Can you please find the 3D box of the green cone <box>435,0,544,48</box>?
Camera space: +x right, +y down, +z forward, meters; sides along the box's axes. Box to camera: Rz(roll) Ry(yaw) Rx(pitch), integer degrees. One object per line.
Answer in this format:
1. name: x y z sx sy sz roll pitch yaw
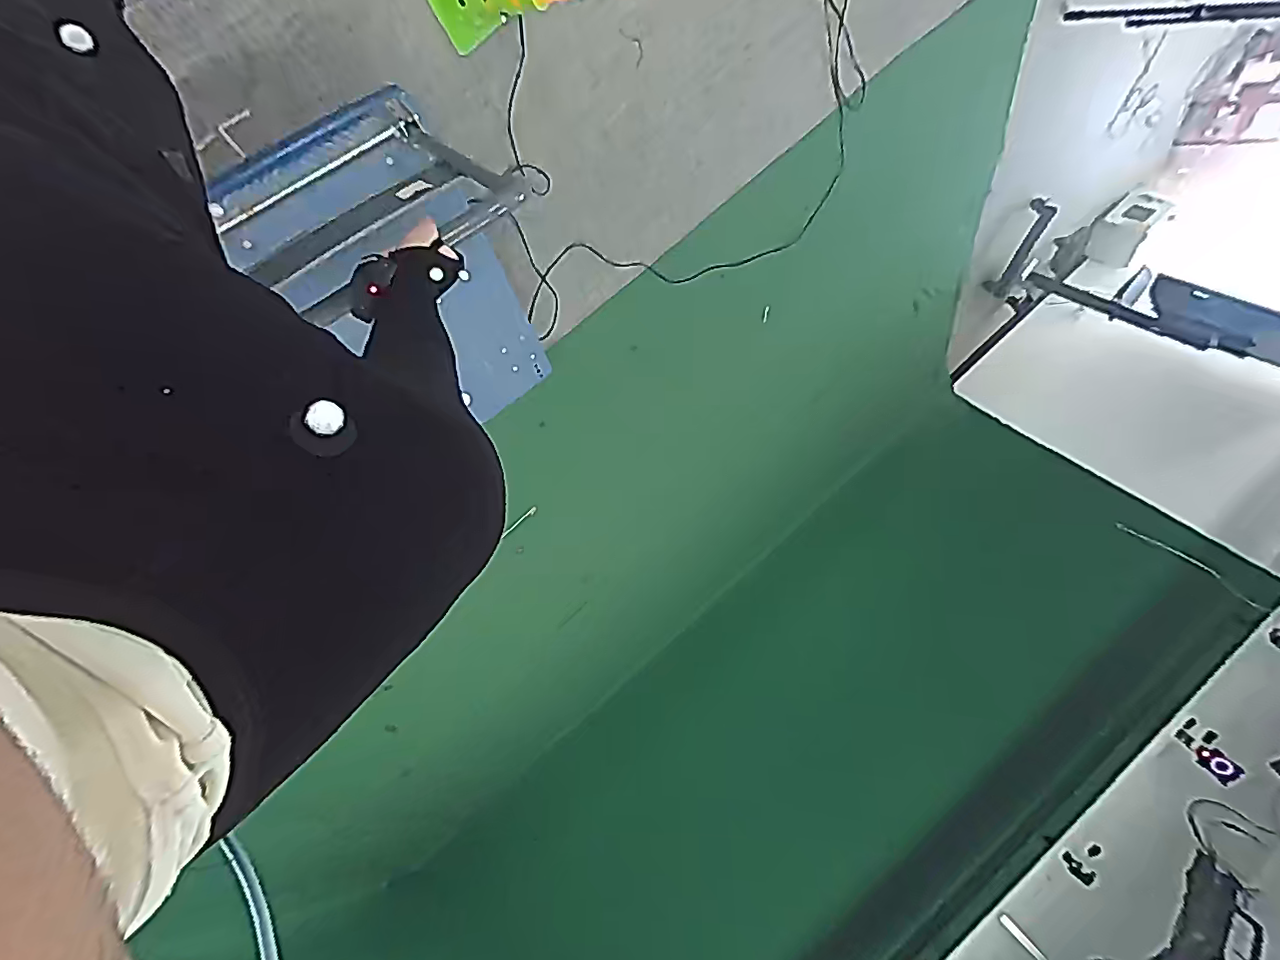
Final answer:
1. green cone: -0.275 -1.024 1.112 0.202 0.368 0.200 -45 147 -2
